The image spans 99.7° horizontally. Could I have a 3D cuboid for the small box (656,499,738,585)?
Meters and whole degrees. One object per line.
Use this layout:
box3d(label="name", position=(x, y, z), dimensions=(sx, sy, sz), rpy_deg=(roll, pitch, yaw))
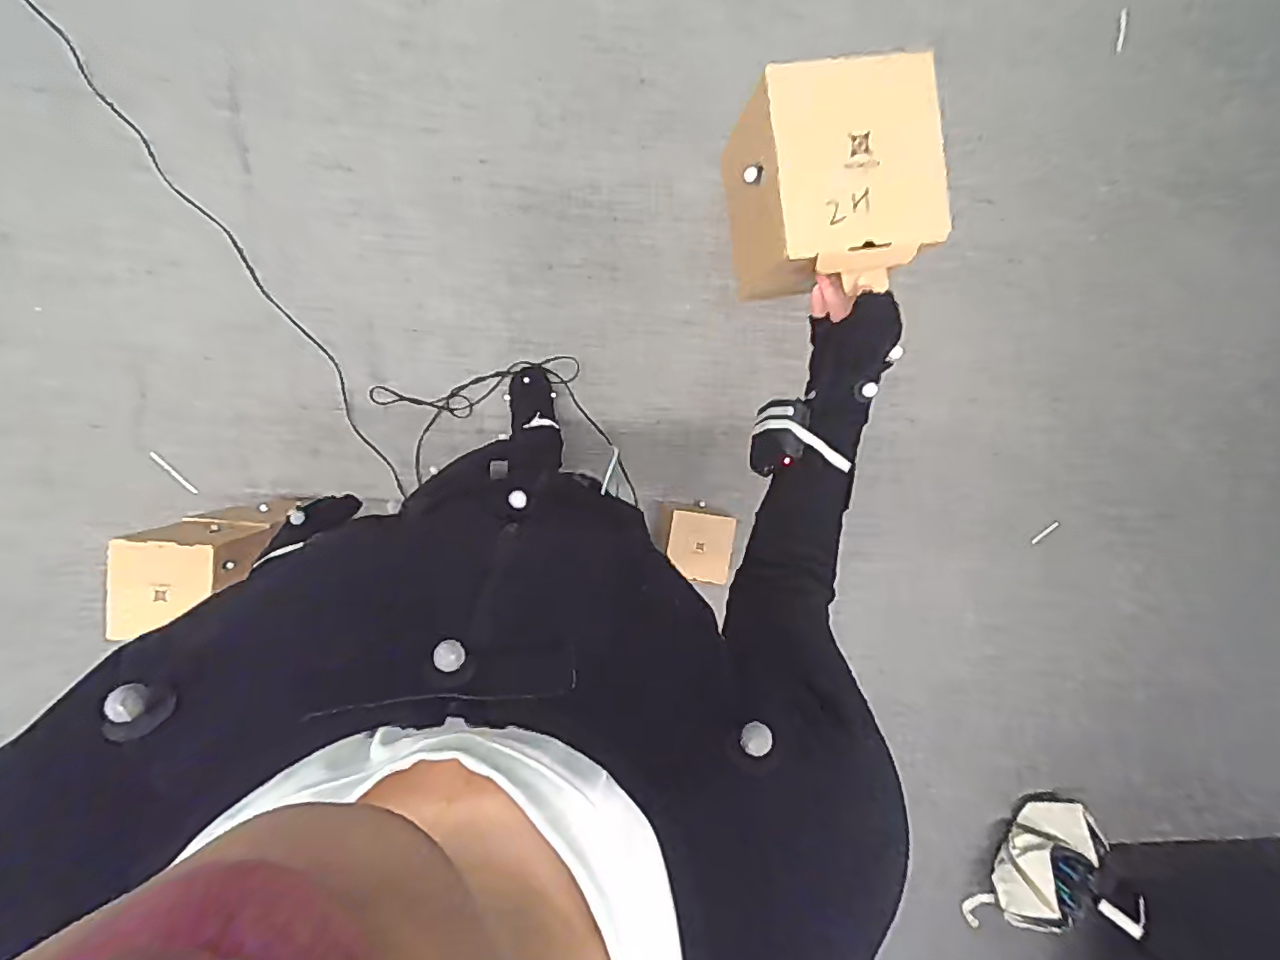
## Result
box3d(label="small box", position=(0.142, 0.158, 1.417), dimensions=(0.168, 0.176, 0.179), rpy_deg=(9, 95, -7))

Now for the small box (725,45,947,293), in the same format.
box3d(label="small box", position=(0.198, -0.319, 0.586), dimensions=(0.168, 0.176, 0.179), rpy_deg=(-8, 96, -5))

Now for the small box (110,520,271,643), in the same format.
box3d(label="small box", position=(-0.813, 0.179, 0.995), dimensions=(0.168, 0.176, 0.179), rpy_deg=(5, 95, -6))

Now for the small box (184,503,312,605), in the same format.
box3d(label="small box", position=(-0.829, 0.153, 1.155), dimensions=(0.168, 0.176, 0.179), rpy_deg=(5, 95, -6))

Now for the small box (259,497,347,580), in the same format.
box3d(label="small box", position=(-0.839, 0.137, 1.318), dimensions=(0.179, 0.176, 0.168), rpy_deg=(5, 95, -7))
